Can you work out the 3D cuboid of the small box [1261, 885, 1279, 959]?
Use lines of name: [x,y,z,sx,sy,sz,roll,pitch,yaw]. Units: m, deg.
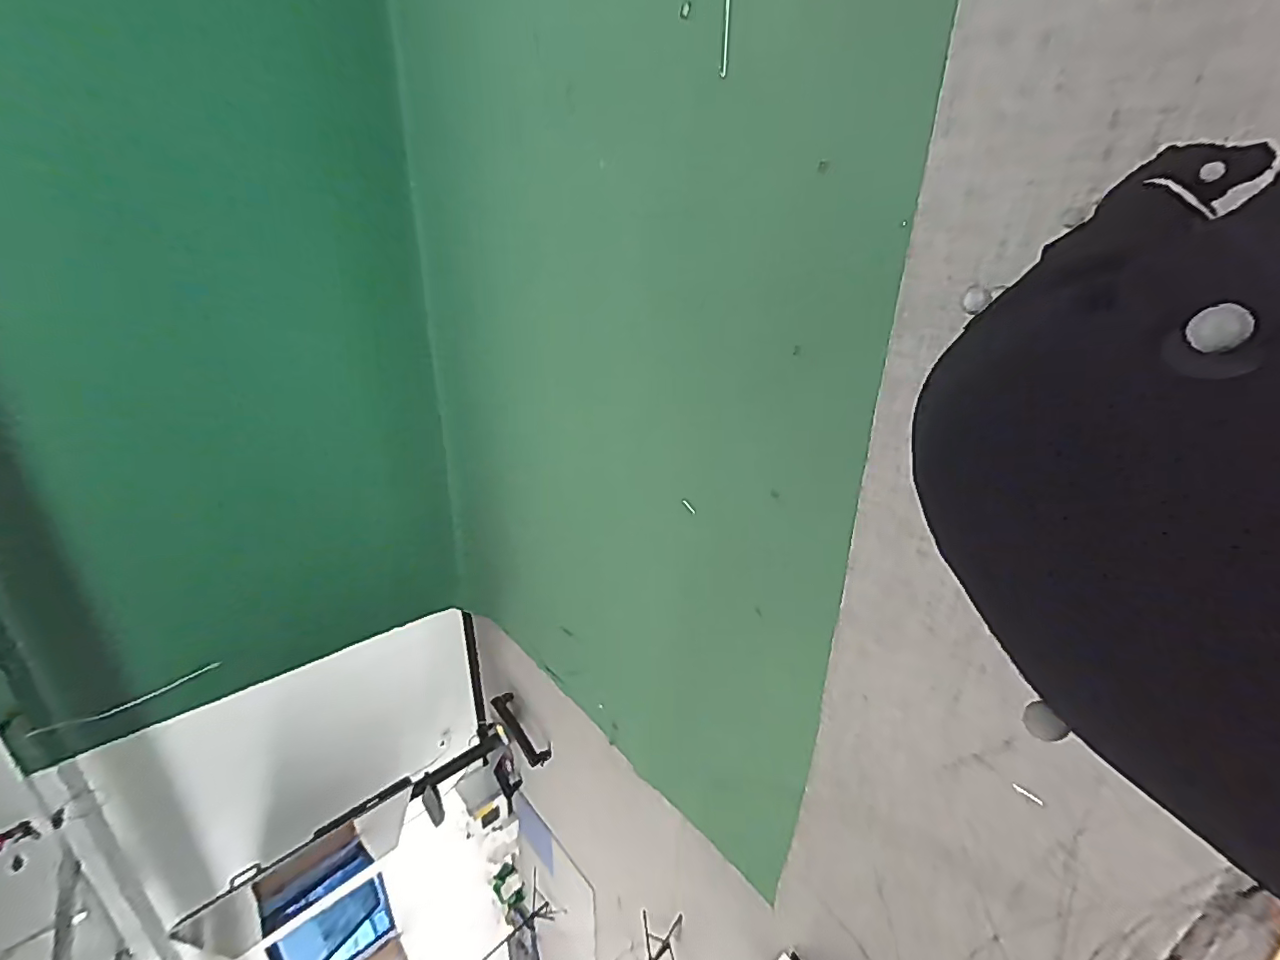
small box: [1.350,0.903,1.039,0.168,0.176,0.179,21,119,44]
